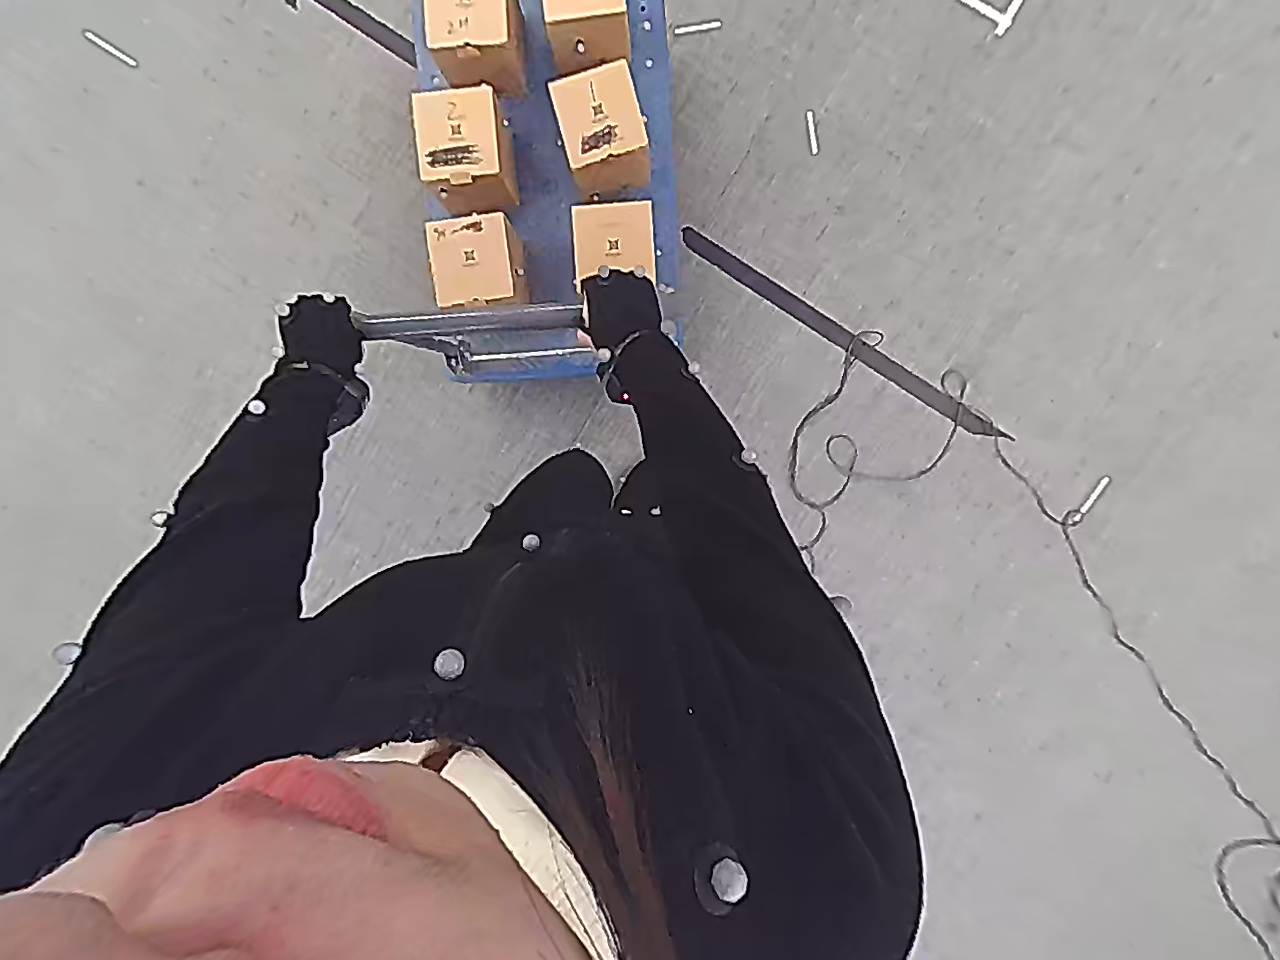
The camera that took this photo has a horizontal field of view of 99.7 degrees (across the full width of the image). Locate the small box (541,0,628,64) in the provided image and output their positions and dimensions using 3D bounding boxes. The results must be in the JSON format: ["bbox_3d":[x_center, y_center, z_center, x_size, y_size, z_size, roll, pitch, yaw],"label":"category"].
[{"bbox_3d":[-0.118,-1.019,1.140,0.168,0.176,0.179,-7,95,2],"label":"small box"}]

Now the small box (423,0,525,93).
[{"bbox_3d":[-0.347,-0.966,1.147,0.168,0.176,0.179,-2,96,2],"label":"small box"}]

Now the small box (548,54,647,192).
[{"bbox_3d":[-0.083,-0.749,1.162,0.168,0.176,0.179,-16,94,2],"label":"small box"}]

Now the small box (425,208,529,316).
[{"bbox_3d":[-0.349,-0.469,1.191,0.168,0.176,0.179,-7,95,0],"label":"small box"}]

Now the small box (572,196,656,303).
[{"bbox_3d":[-0.051,-0.494,1.185,0.168,0.176,0.179,-3,94,1],"label":"small box"}]
